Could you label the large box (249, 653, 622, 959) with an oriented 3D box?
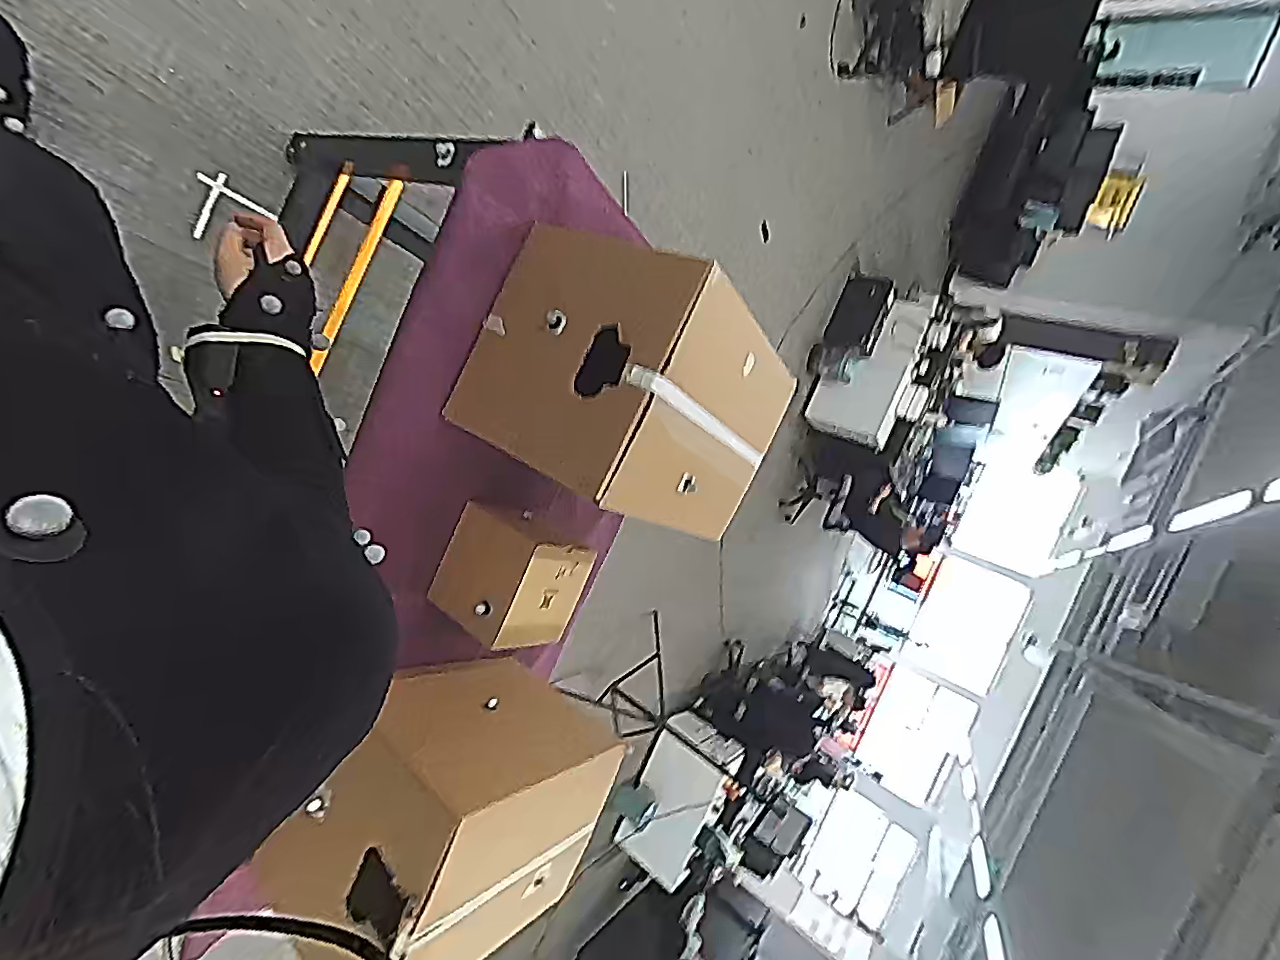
[{"bbox_3d":[-0.299,0.506,0.866,0.408,0.320,0.320,22,92,-61],"label":"large box"}]
